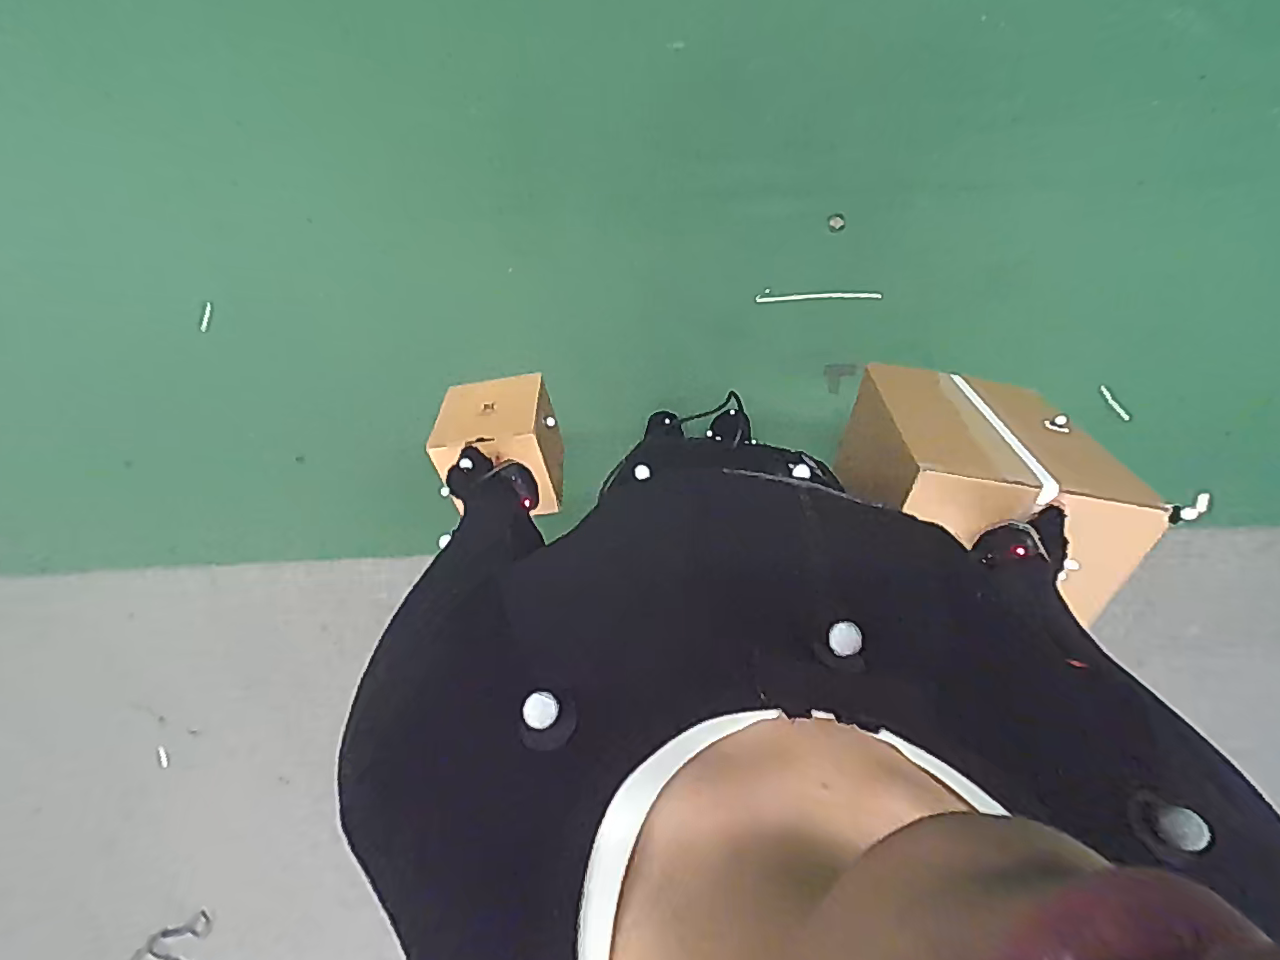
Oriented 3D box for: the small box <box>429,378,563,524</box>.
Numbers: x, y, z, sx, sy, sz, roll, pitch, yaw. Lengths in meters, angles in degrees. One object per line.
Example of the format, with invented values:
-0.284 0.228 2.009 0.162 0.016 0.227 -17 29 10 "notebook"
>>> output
-0.231 -0.049 0.923 0.168 0.179 0.176 -9 131 3 "small box"
